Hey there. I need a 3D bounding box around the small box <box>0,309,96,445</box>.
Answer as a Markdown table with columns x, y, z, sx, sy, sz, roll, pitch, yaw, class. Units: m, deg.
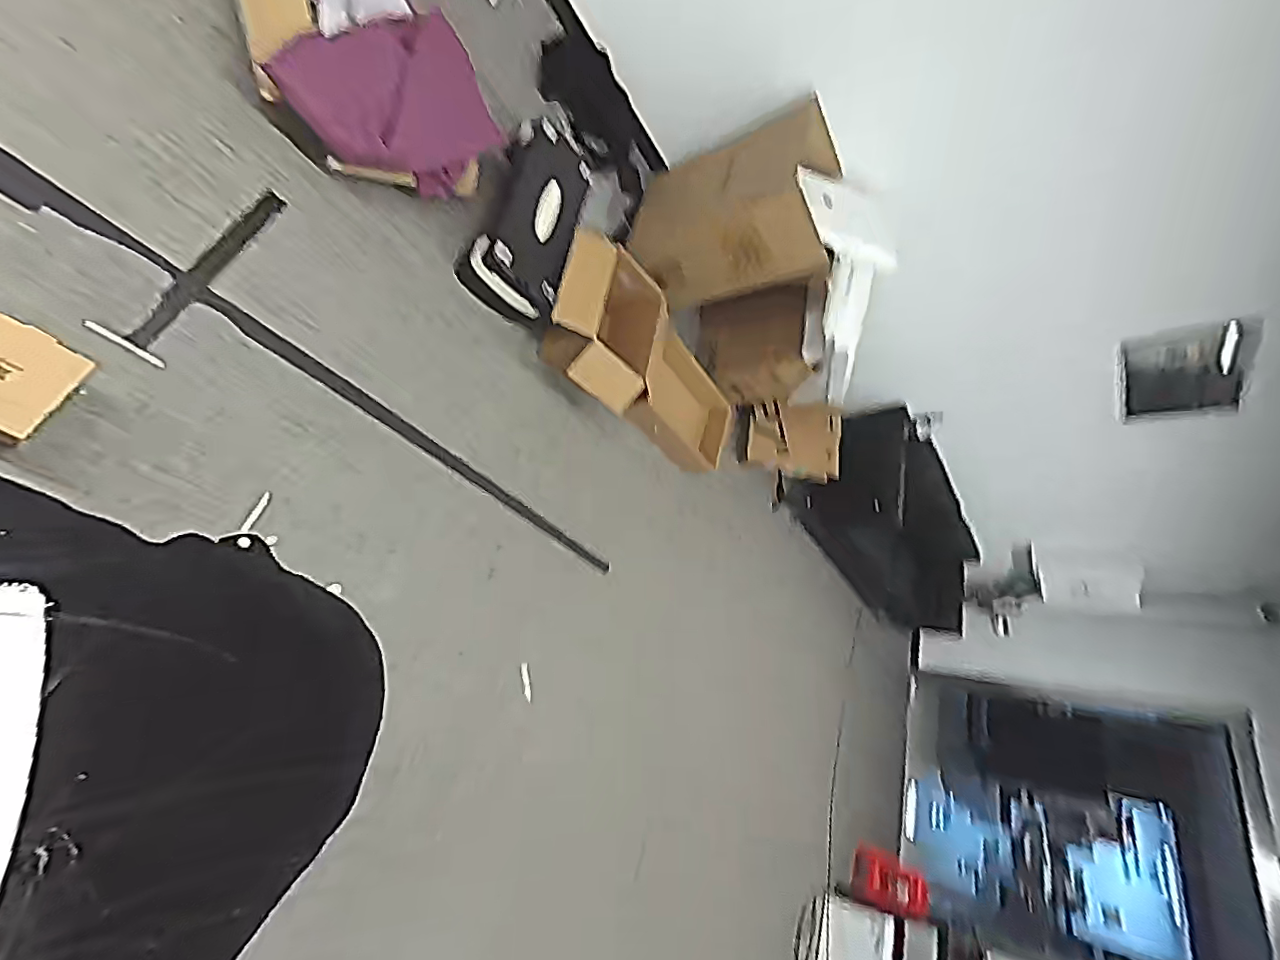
| x | y | z | sx | sy | sz | roll | pitch | yaw | class |
| --- | --- | --- | --- | --- | --- | --- | --- | --- | --- |
| -1.132 | -0.180 | 0.955 | 0.168 | 0.176 | 0.179 | 43 | 56 | -39 | small box |
